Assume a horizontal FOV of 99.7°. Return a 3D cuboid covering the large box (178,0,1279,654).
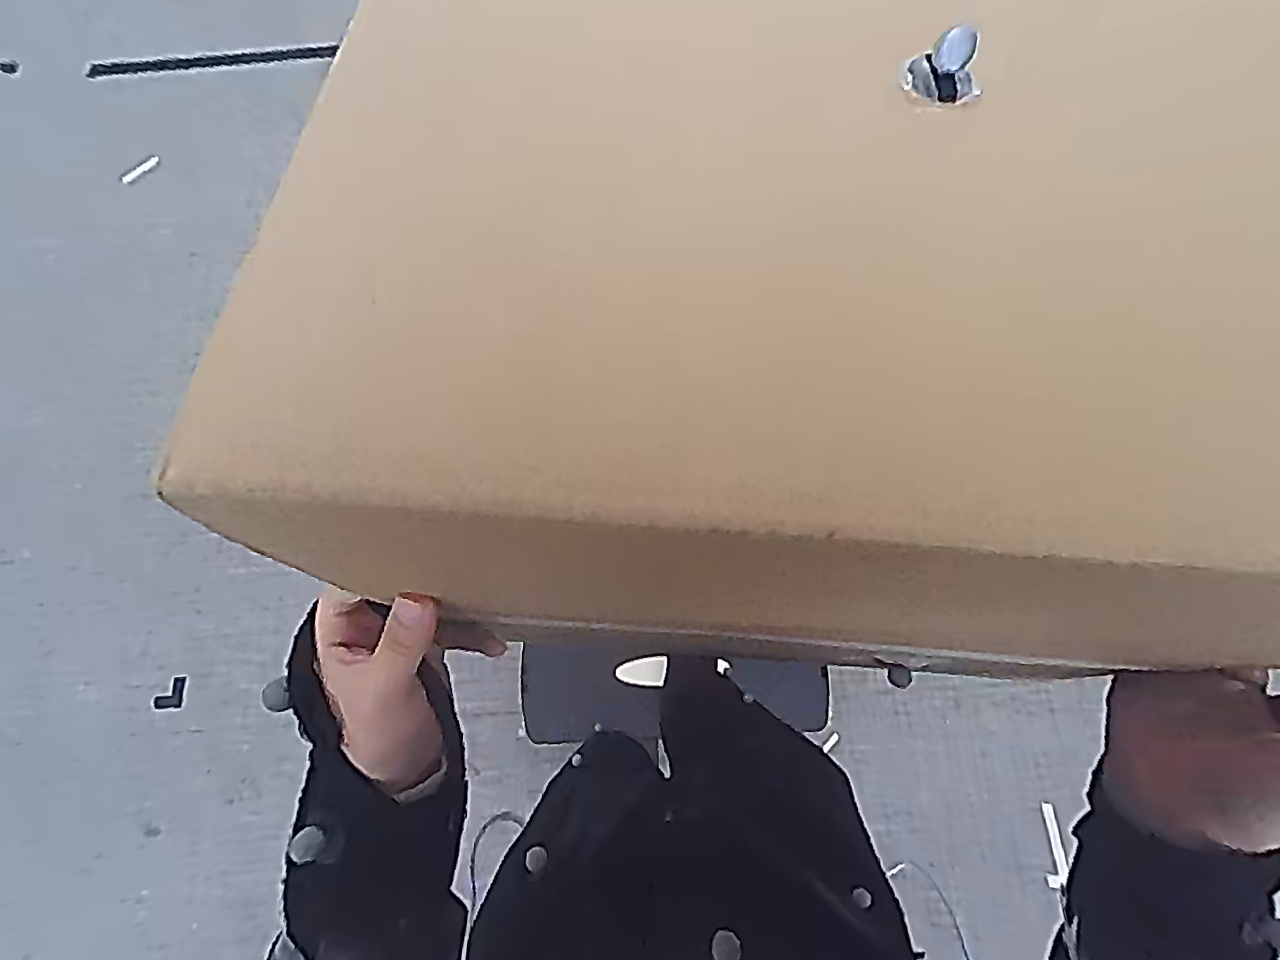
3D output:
[{"bbox_3d":[0.088,-0.079,0.319,0.408,0.320,0.320,3,69,-1],"label":"large box"}]
